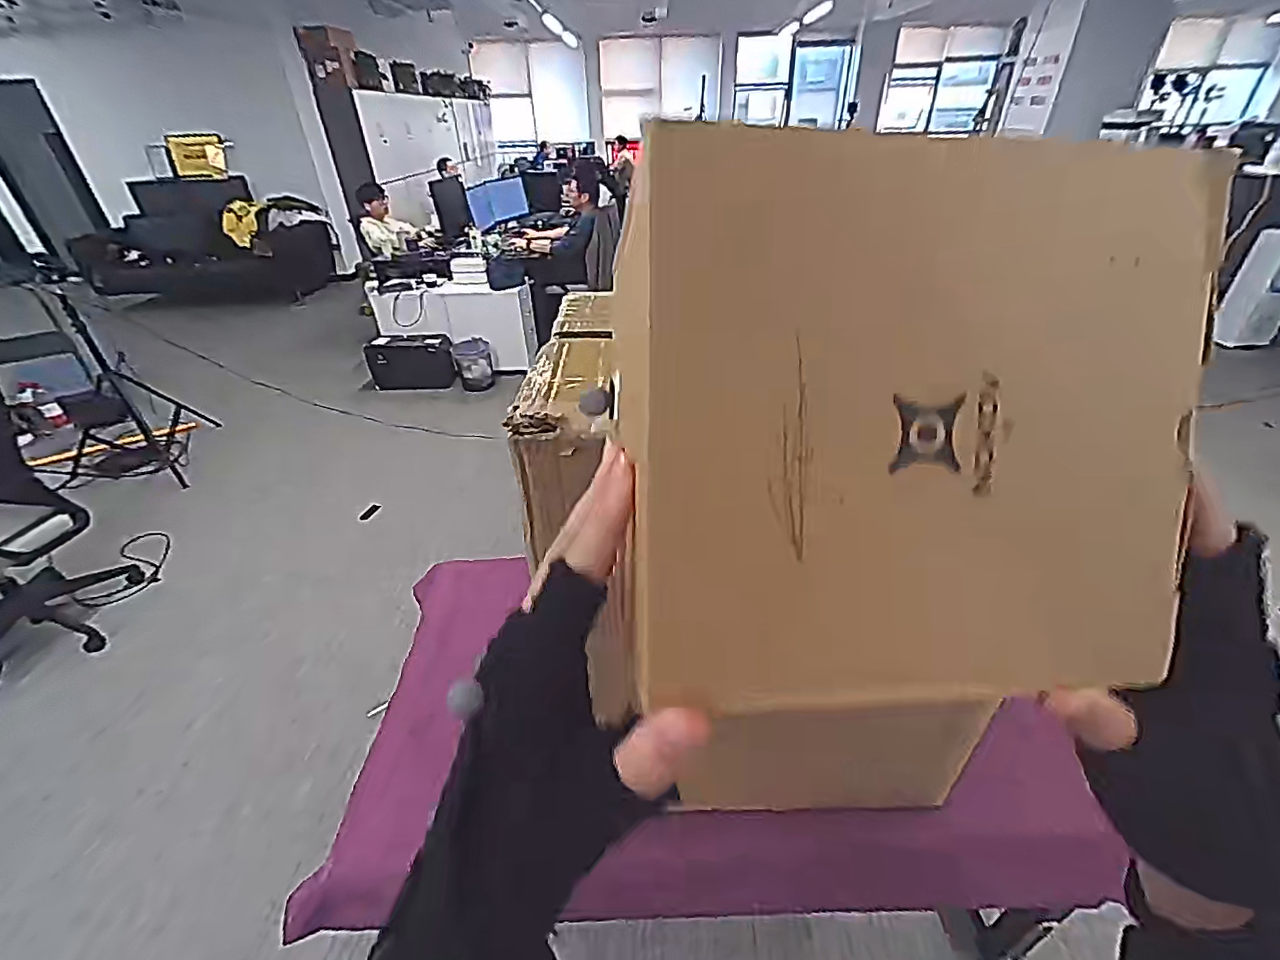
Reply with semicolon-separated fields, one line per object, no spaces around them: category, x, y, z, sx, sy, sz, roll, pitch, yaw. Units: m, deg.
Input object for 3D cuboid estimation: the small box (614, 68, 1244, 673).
small box;0.082;-0.034;0.236;0.179;0.168;0.176;-2;5;-5
